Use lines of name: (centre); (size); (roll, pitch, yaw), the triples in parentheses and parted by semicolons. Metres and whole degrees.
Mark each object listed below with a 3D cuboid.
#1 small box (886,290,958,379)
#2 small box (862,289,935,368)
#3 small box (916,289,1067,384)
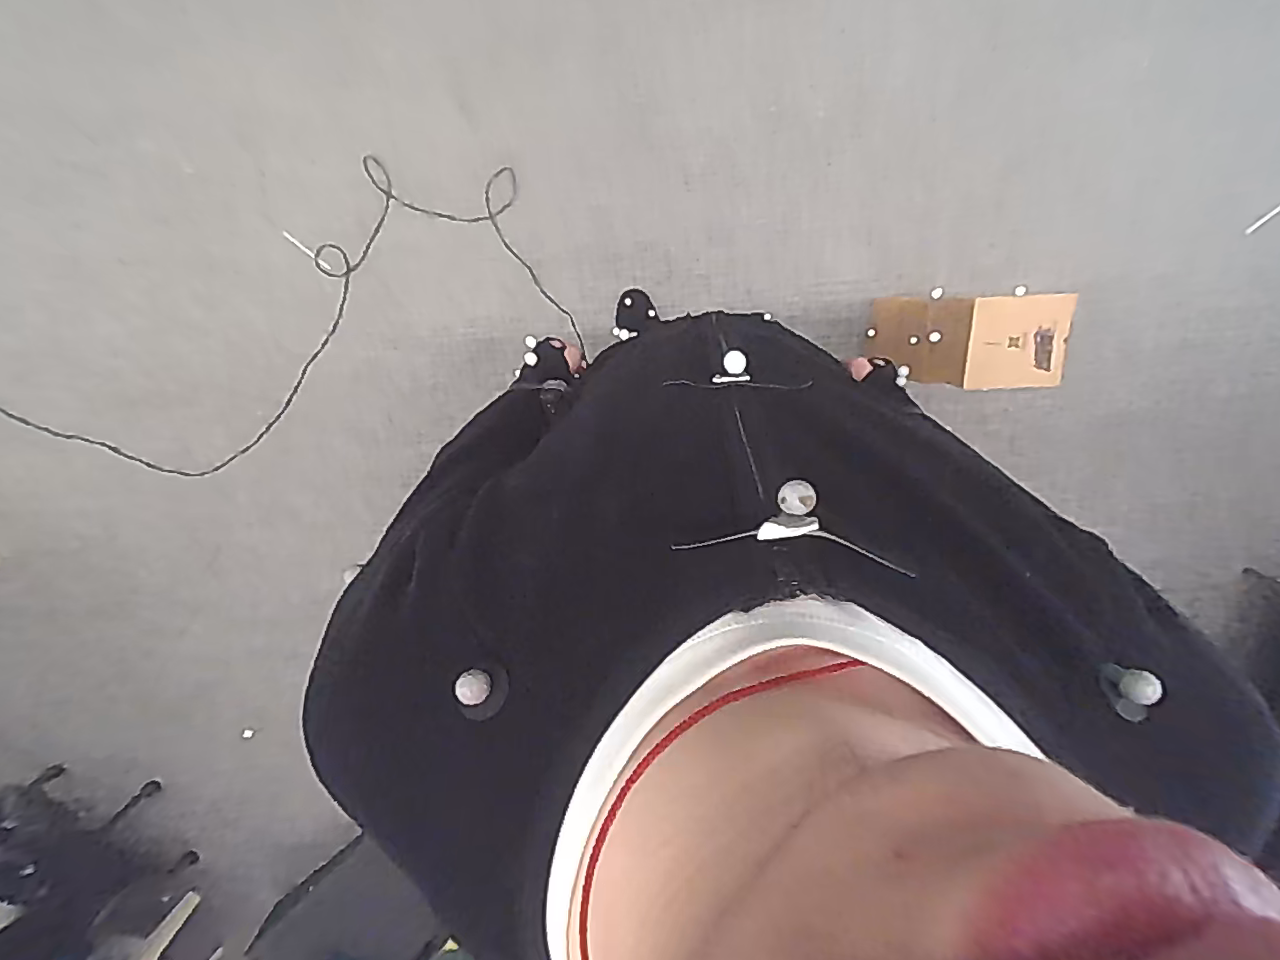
small box: (0.675, -0.333, 1.223); (0.168, 0.176, 0.179); (-3, 112, 3)
small box: (0.679, -0.388, 1.374); (0.168, 0.176, 0.179); (-2, 110, 2)
small box: (0.677, -0.286, 1.063); (0.179, 0.176, 0.168); (-1, 109, 3)
